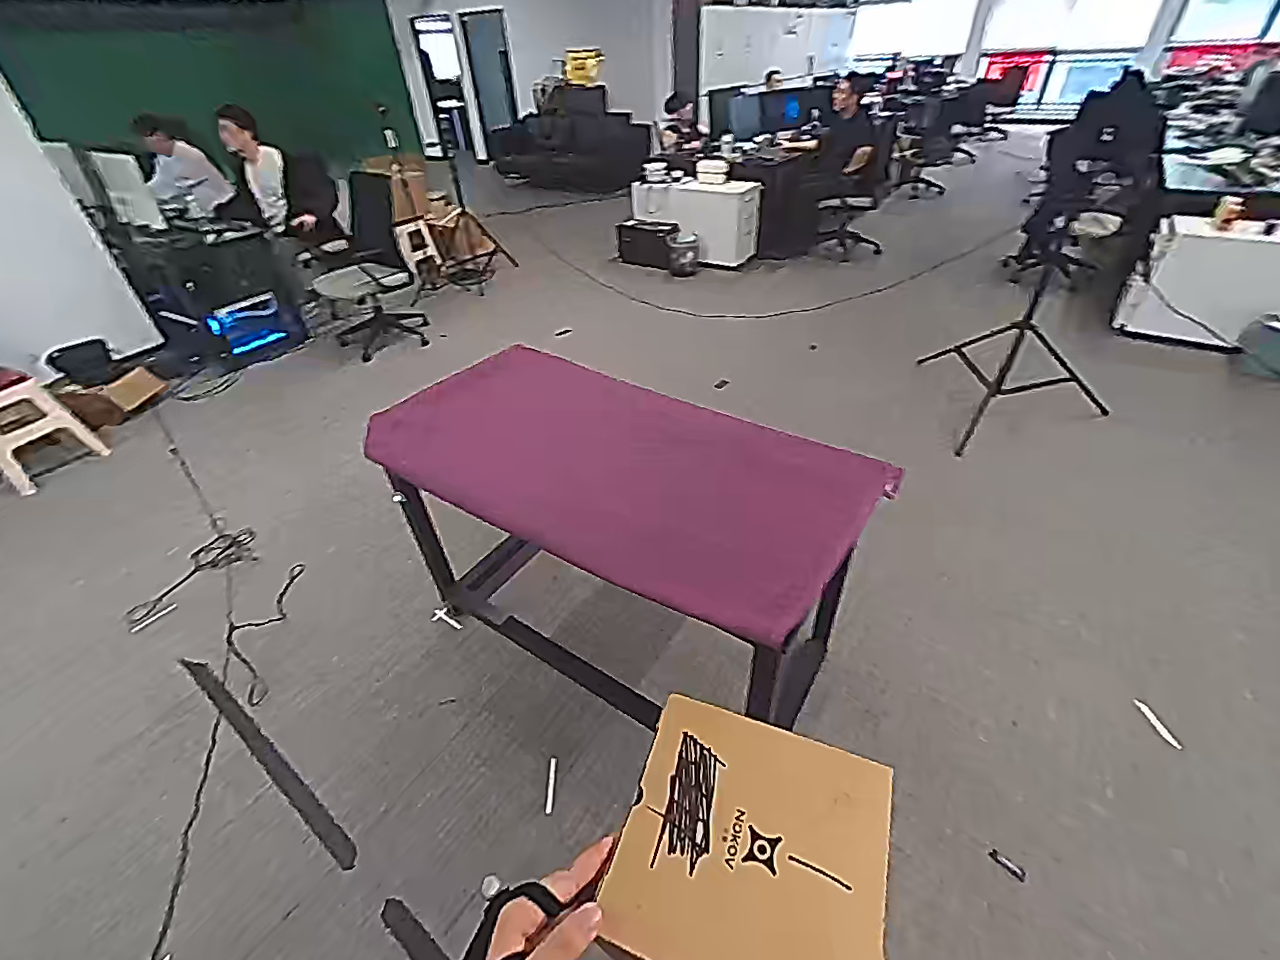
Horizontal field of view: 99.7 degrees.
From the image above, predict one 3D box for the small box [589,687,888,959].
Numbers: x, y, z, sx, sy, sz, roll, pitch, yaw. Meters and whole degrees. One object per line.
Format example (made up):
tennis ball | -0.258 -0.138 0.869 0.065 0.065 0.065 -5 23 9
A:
small box | 0.080 0.300 0.428 0.179 0.176 0.168 12 47 17
